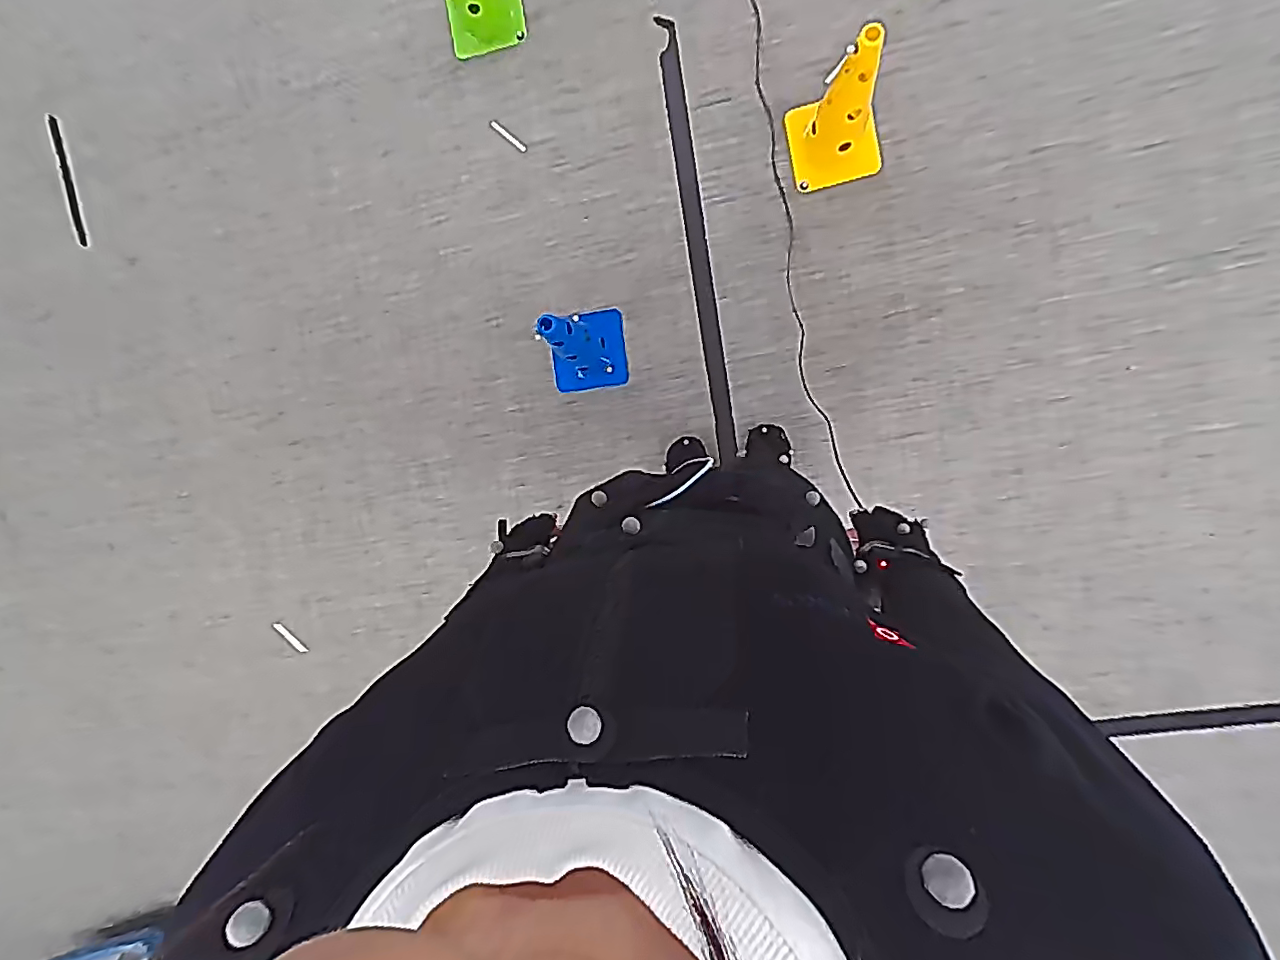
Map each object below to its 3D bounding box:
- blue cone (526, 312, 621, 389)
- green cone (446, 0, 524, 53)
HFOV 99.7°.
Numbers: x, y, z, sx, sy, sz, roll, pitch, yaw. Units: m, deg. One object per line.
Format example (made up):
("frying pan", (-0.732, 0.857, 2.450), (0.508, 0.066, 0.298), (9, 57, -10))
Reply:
("blue cone", (-0.175, -0.332, 1.276), (0.192, 0.380, 0.193), (-5, 94, 10))
("green cone", (-0.433, -1.213, 1.225), (0.202, 0.368, 0.200), (-9, 94, 11))
